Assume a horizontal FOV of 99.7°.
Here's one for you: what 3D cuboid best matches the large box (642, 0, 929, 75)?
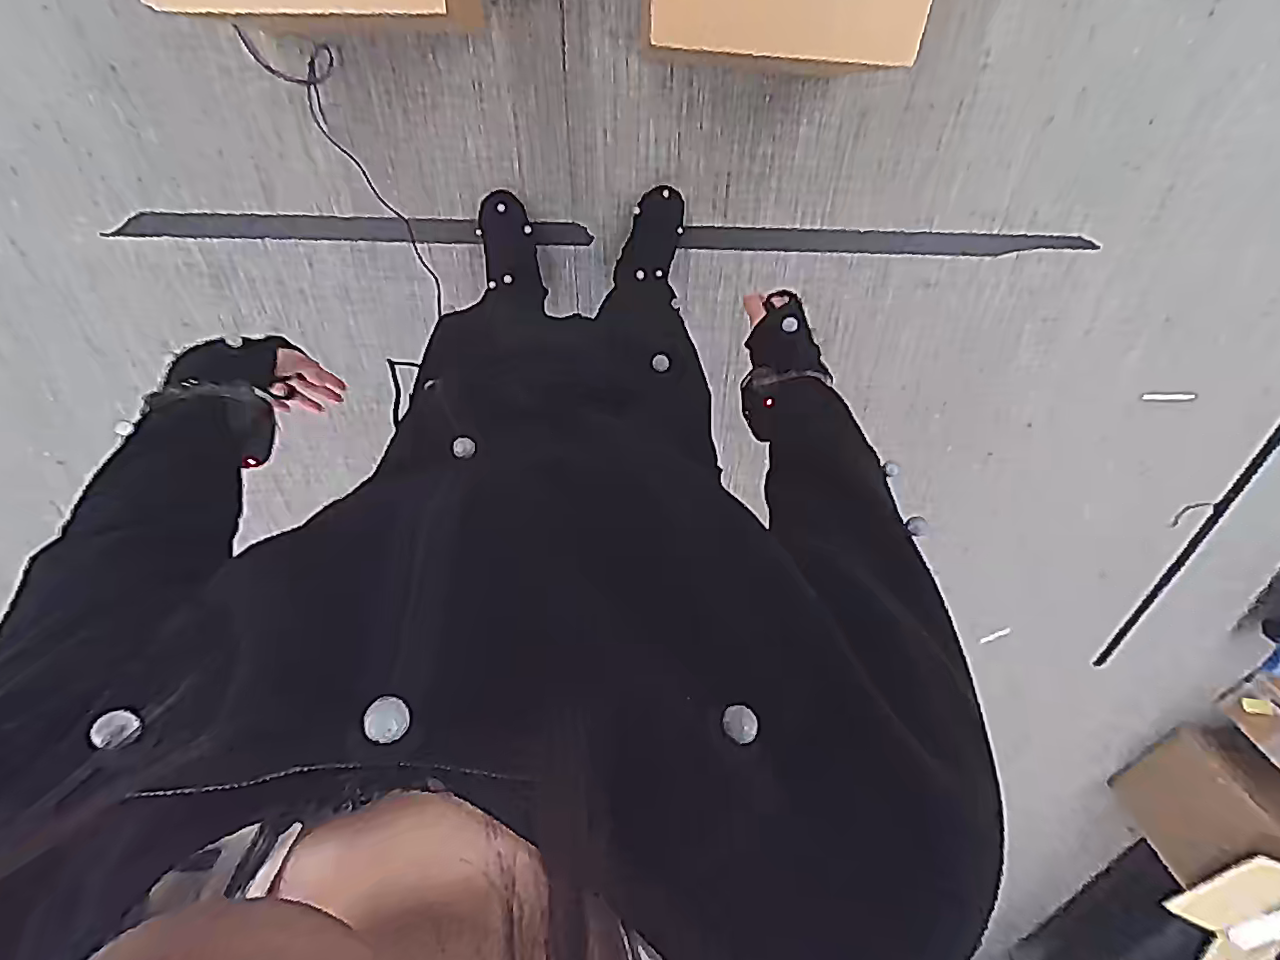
[{"bbox_3d":[0.218,-0.848,0.848,0.408,0.320,0.320,1,125,-5],"label":"large box"}]
